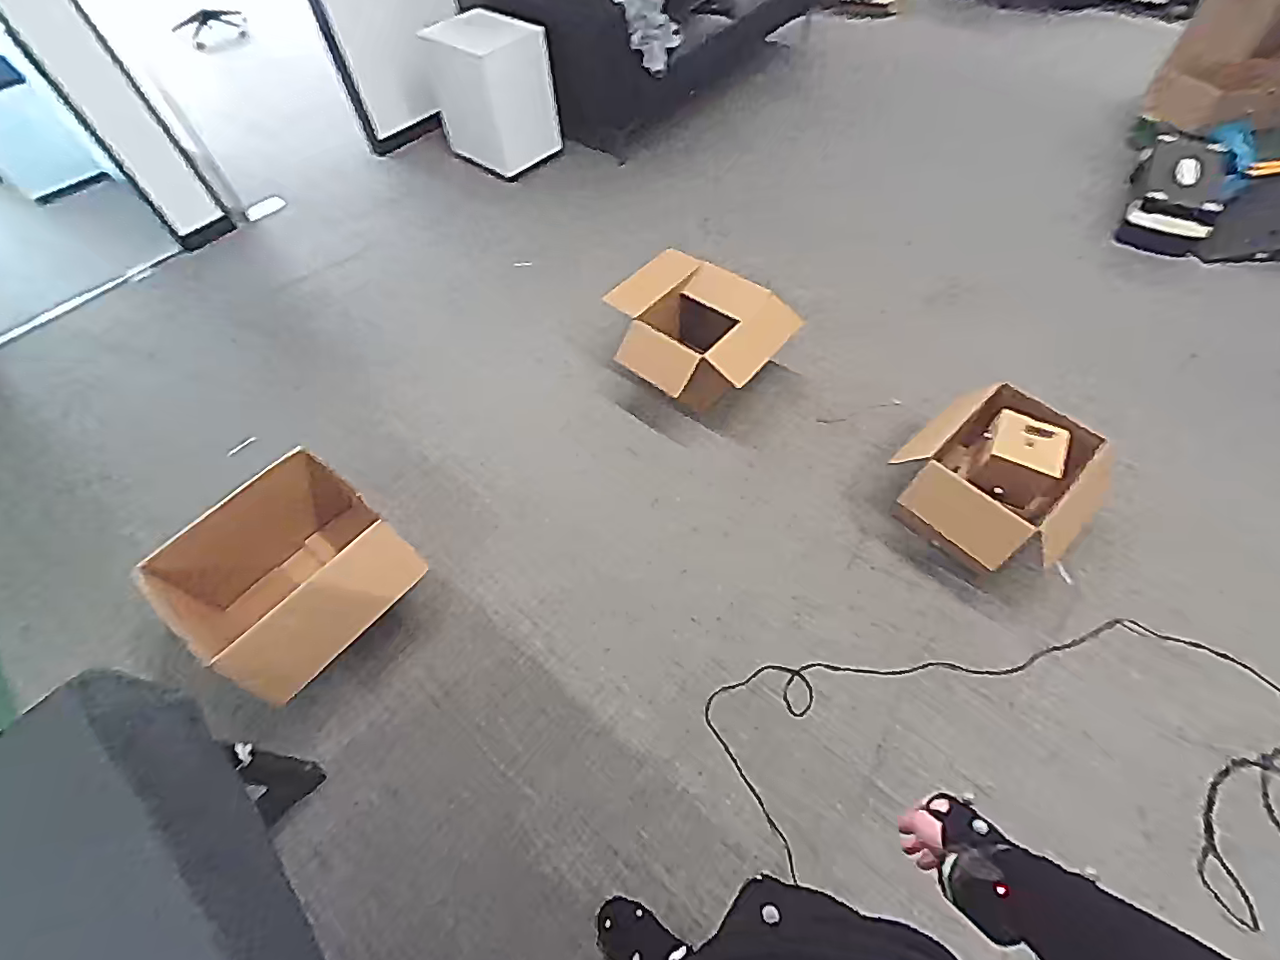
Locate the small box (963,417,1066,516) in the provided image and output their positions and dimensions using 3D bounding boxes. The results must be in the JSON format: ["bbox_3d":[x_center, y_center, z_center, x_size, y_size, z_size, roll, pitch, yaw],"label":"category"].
[{"bbox_3d":[1.030,-0.036,1.498,0.168,0.176,0.179,27,60,20],"label":"small box"}]
